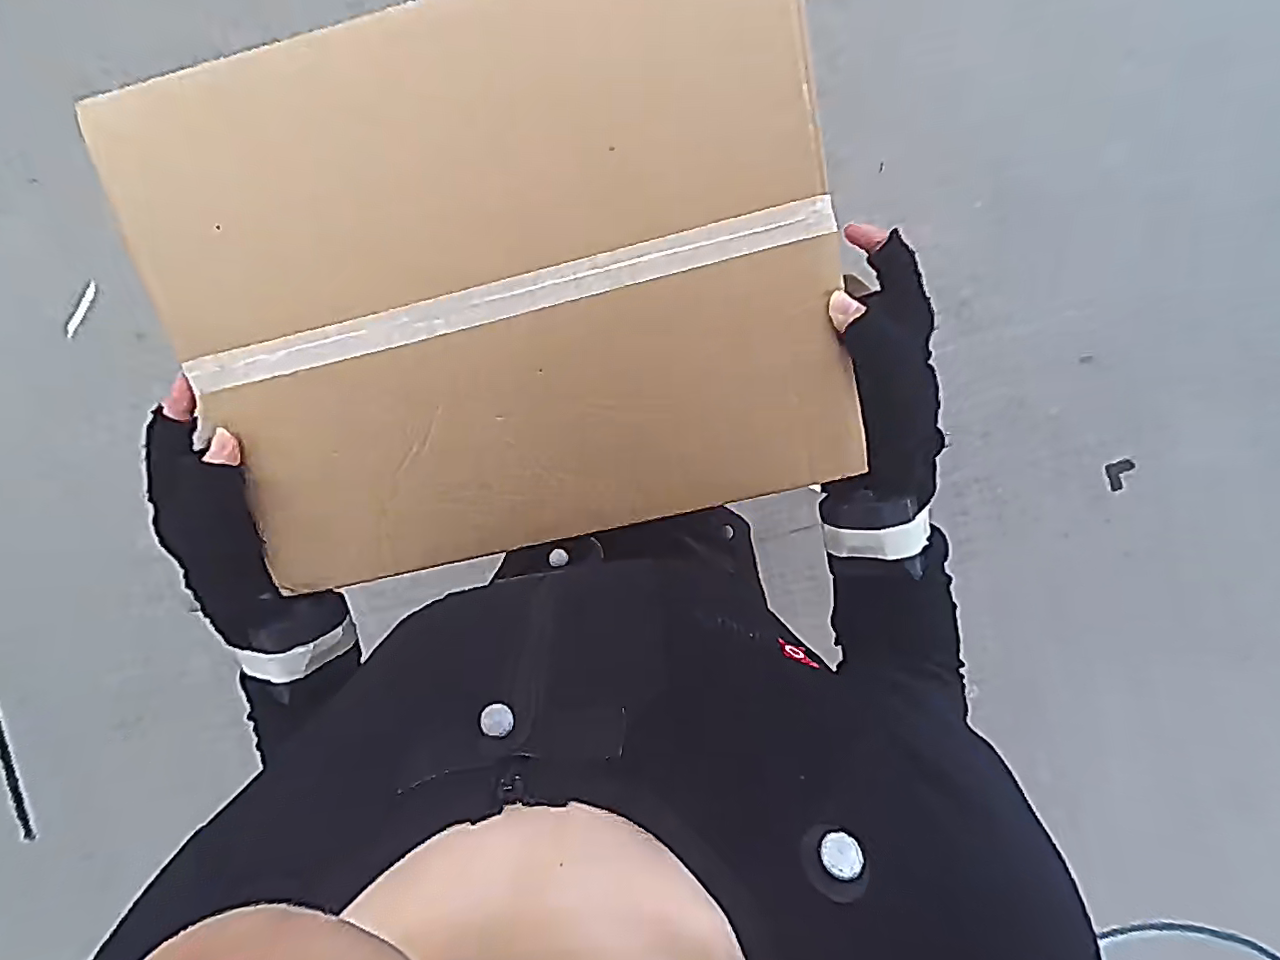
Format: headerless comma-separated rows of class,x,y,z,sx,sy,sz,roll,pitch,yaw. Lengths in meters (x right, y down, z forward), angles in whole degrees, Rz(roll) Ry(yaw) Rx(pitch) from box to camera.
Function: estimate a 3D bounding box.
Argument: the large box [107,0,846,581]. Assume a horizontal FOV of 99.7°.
large box,-0.085,-0.152,0.482,0.408,0.320,0.320,-13,103,4
